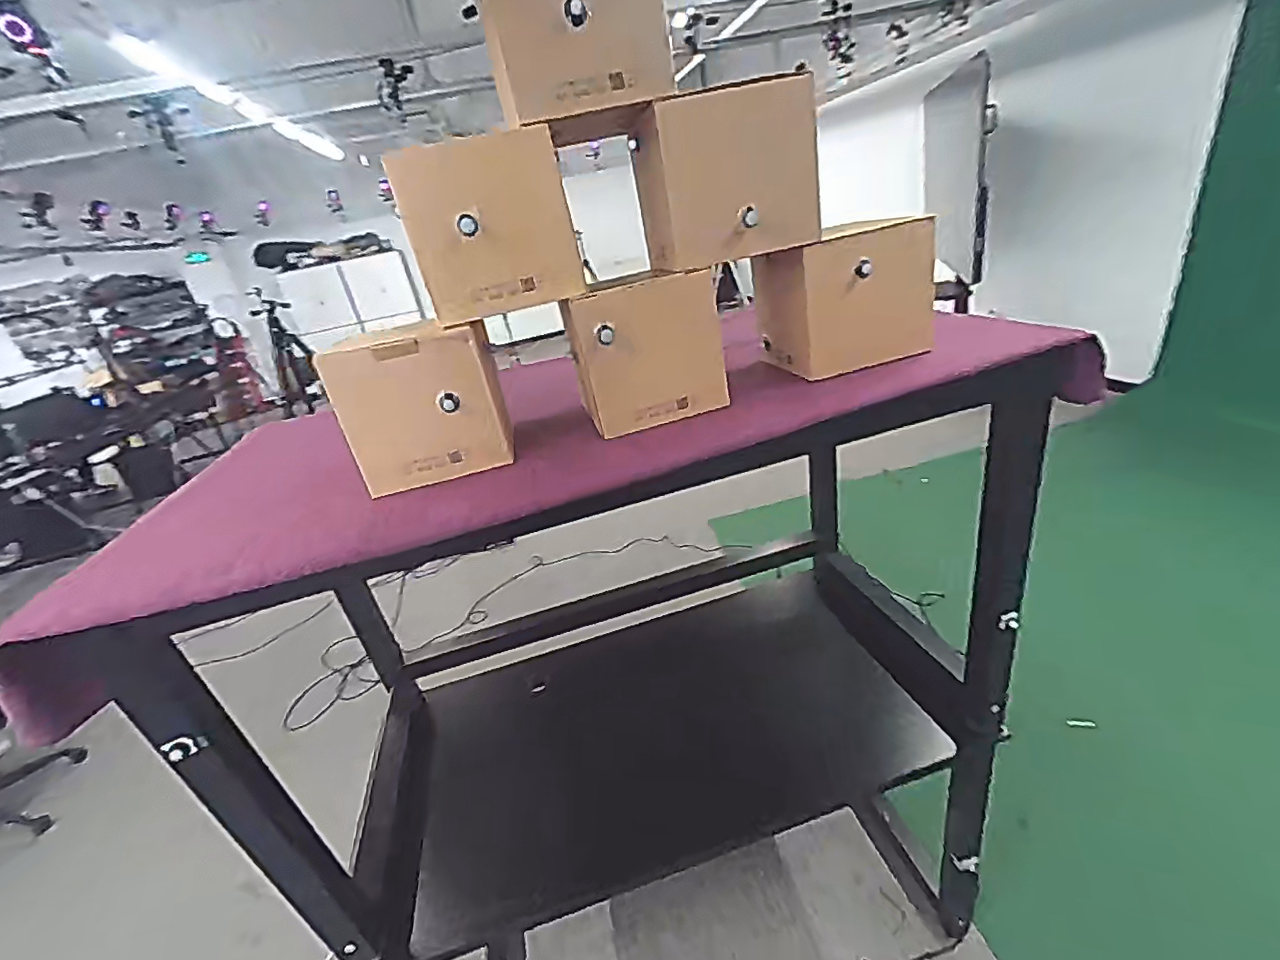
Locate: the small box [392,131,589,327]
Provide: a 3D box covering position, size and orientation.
[{"bbox_3d":[-0.165,-0.283,0.639,0.168,0.176,0.179,-16,25,-7],"label":"small box"}]

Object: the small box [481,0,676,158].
[{"bbox_3d":[-0.069,-0.466,0.586,0.168,0.176,0.179,-16,25,-7],"label":"small box"}]

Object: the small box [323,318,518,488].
[{"bbox_3d":[-0.254,-0.102,0.678,0.168,0.176,0.179,-14,25,-6],"label":"small box"}]

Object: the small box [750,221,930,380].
[{"bbox_3d":[0.273,-0.248,0.751,0.179,0.176,0.168,-15,25,-7],"label":"small box"}]
